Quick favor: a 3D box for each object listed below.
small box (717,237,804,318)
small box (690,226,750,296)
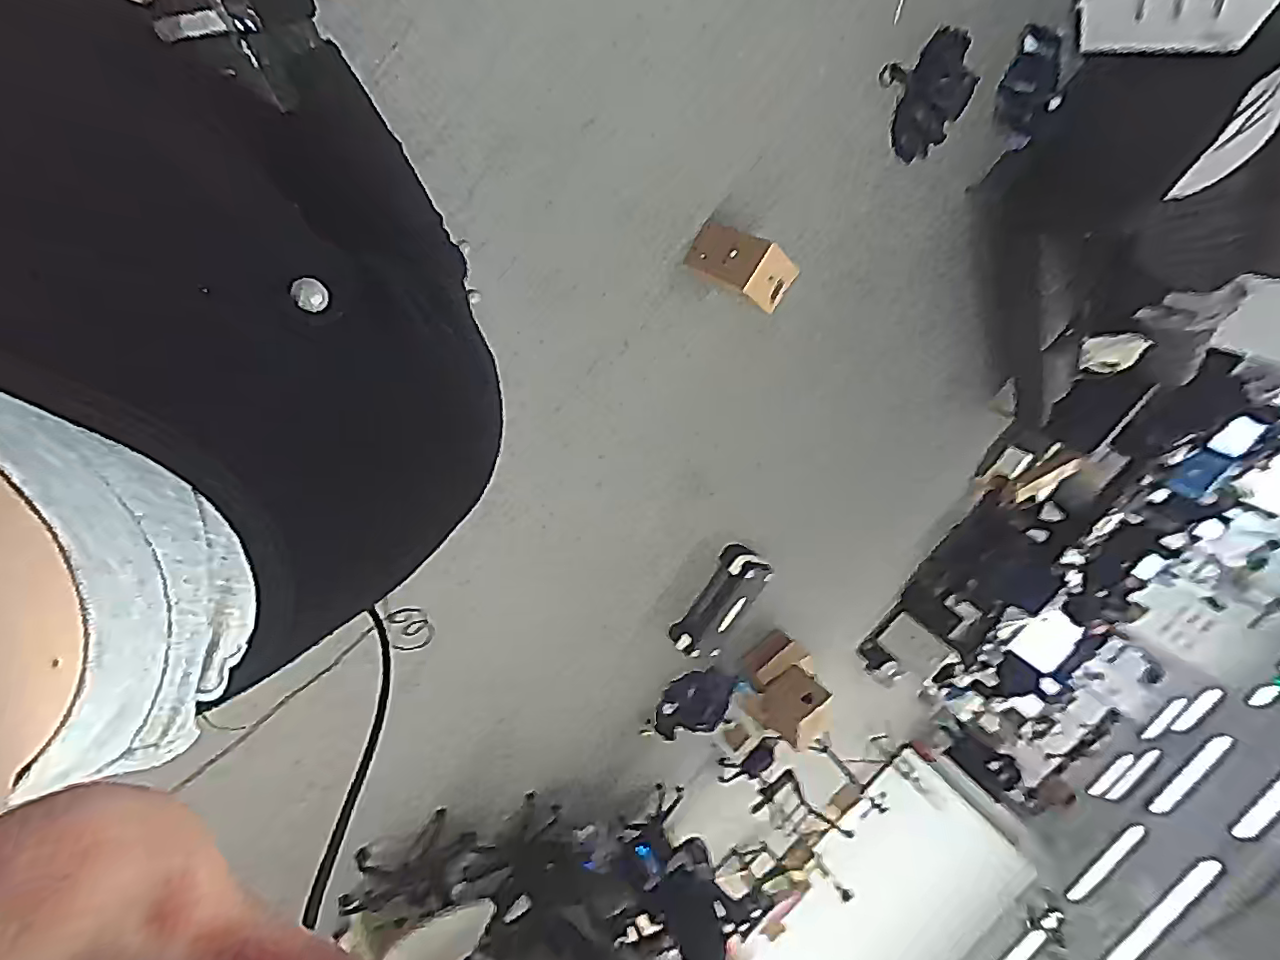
[{"bbox_3d":[0.385,-0.656,1.741,0.179,0.176,0.168,20,108,-44],"label":"small box"},{"bbox_3d":[0.303,-0.746,1.852,0.179,0.176,0.168,17,111,-46],"label":"small box"}]
